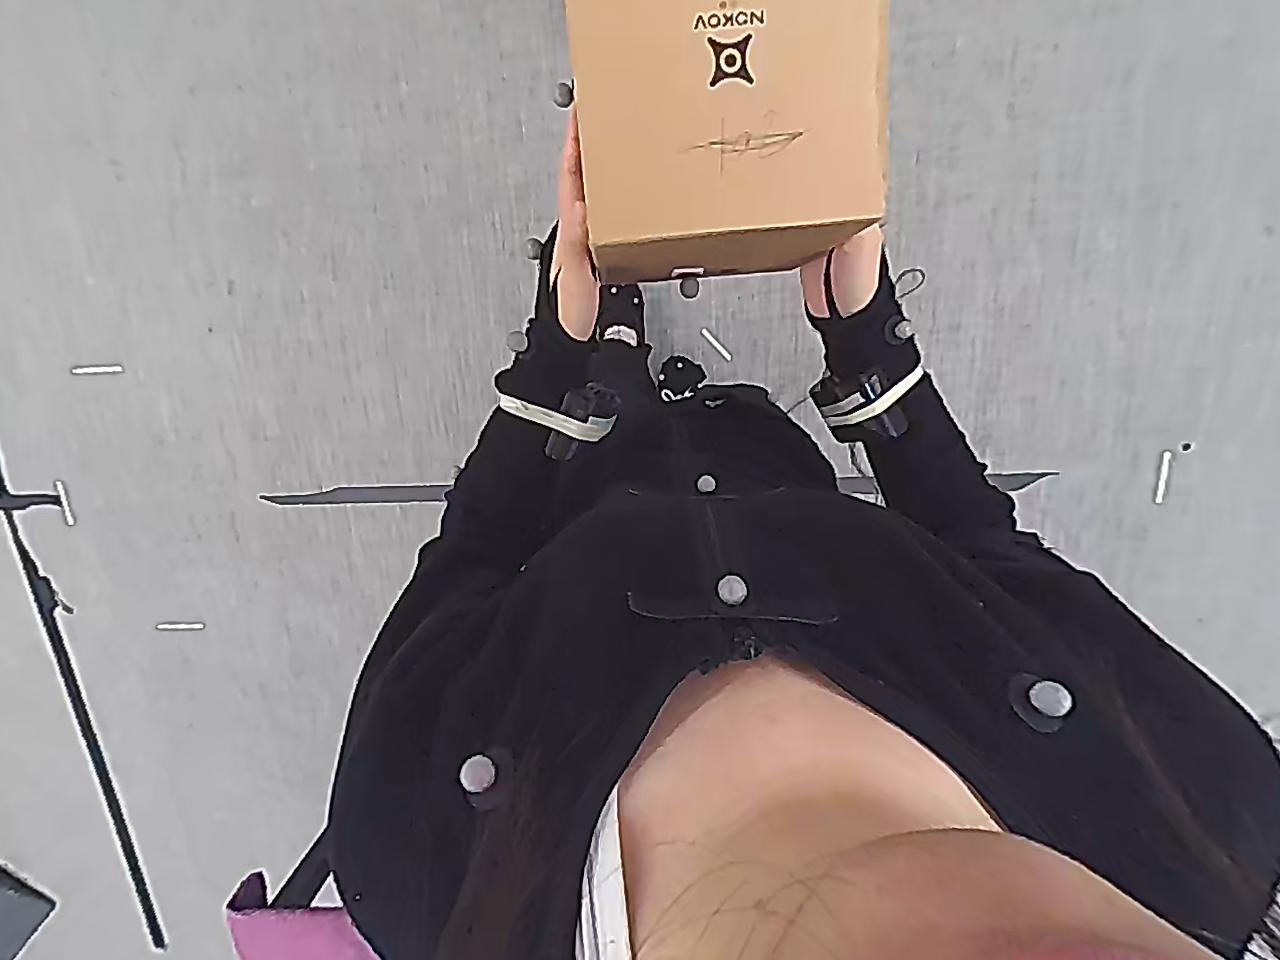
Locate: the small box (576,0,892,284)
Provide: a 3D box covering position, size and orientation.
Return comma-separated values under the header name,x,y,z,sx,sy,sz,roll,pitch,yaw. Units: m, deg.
name,x,y,z,sx,sy,sz,roll,pitch,yaw
small box,0.047,-0.240,0.360,0.168,0.176,0.179,-6,102,0
